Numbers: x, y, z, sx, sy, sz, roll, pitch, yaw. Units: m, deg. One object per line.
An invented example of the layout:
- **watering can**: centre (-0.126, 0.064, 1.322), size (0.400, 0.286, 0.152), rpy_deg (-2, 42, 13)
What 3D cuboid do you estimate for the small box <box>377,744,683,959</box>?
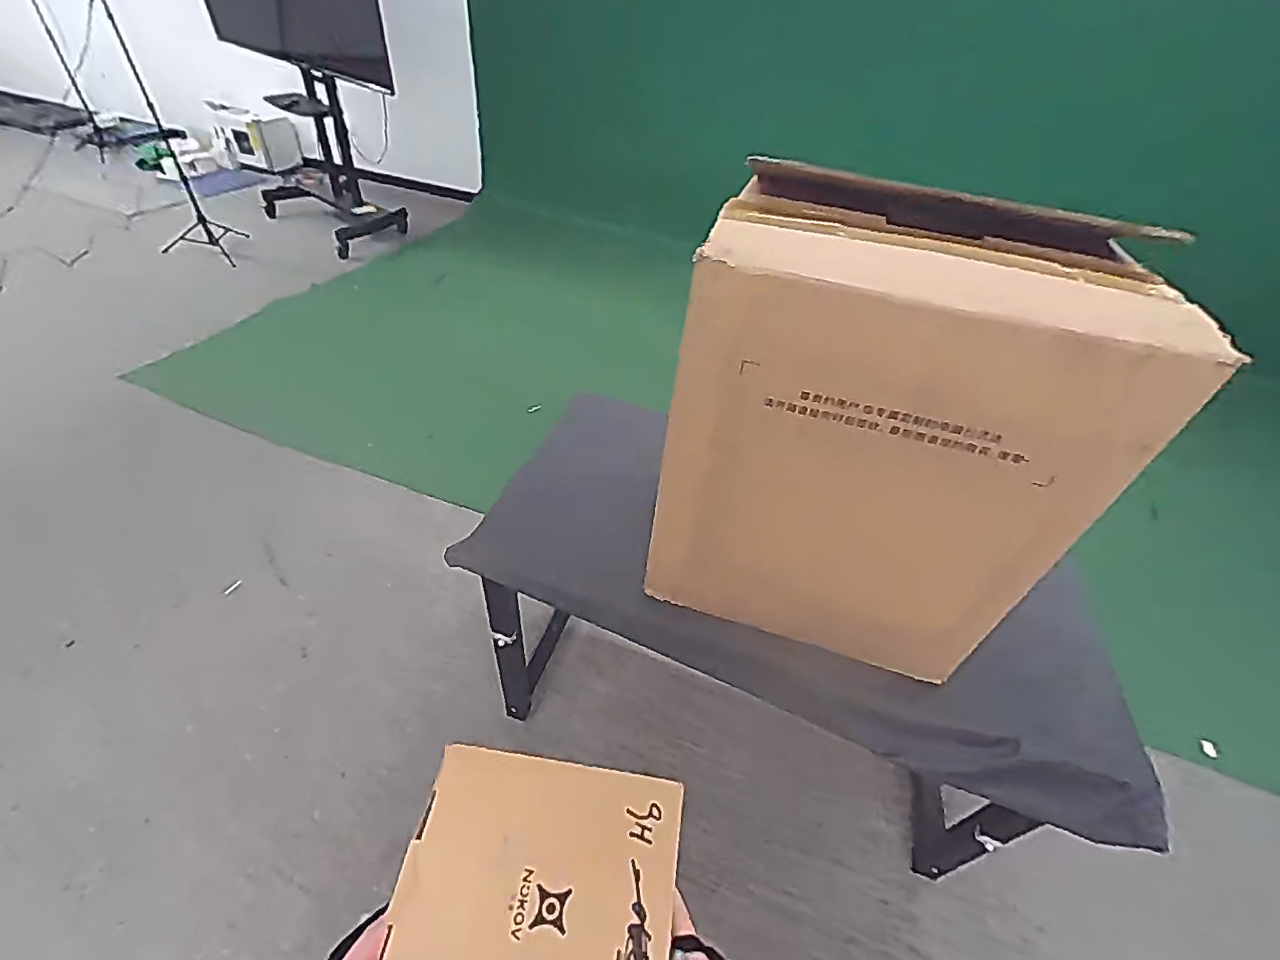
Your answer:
- **small box**: centre (-0.074, 0.318, 0.411), size (0.179, 0.176, 0.168), rpy_deg (11, 56, 1)
